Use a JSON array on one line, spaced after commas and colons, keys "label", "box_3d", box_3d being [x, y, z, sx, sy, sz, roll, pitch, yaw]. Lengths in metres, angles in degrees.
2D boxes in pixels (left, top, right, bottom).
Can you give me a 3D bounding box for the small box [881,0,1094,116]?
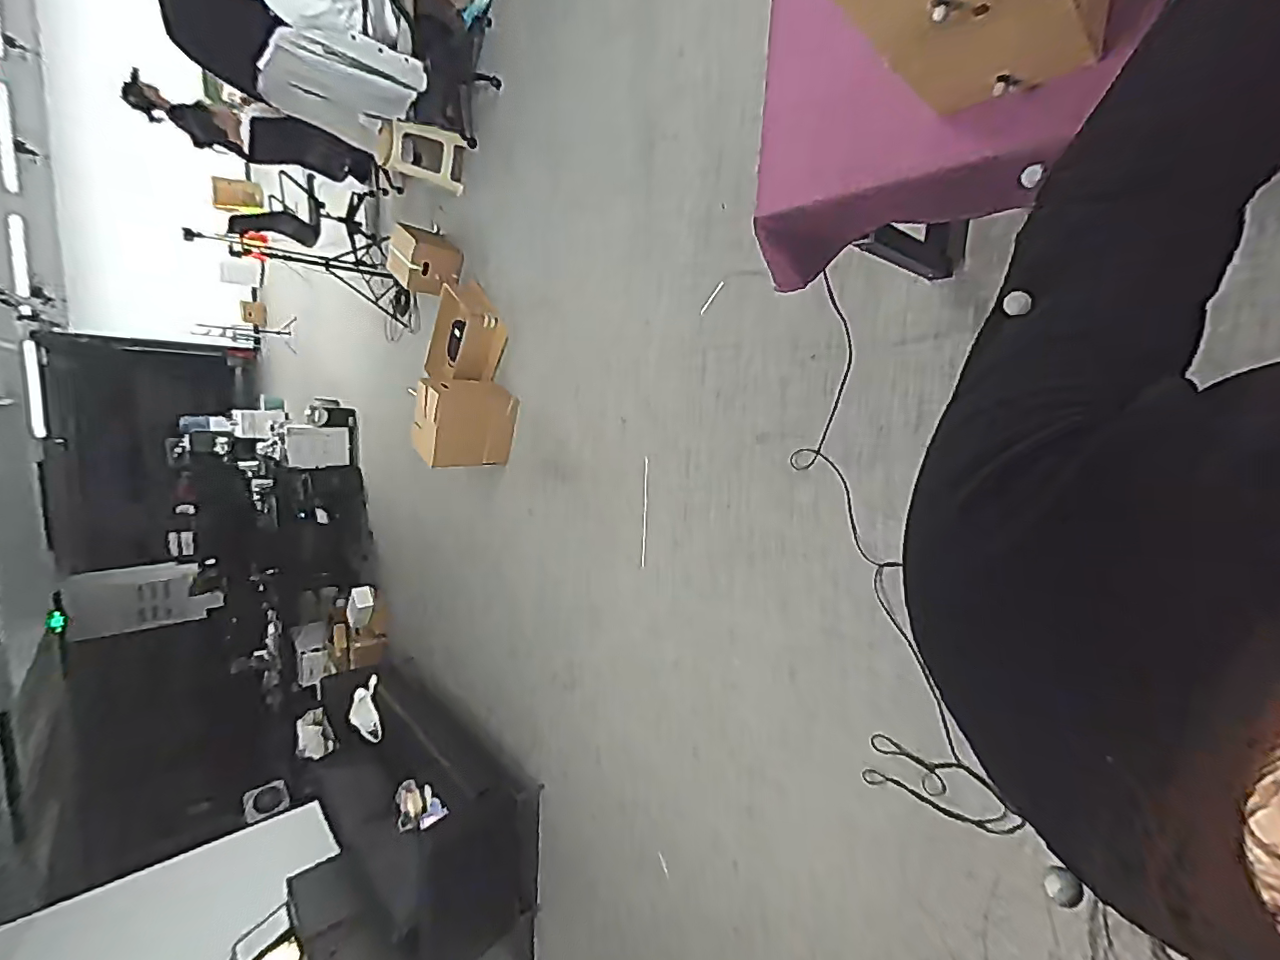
[{"label": "small box", "box_3d": [0.404, -0.560, 0.618, 0.179, 0.176, 0.168, 10, 100, 46]}]
